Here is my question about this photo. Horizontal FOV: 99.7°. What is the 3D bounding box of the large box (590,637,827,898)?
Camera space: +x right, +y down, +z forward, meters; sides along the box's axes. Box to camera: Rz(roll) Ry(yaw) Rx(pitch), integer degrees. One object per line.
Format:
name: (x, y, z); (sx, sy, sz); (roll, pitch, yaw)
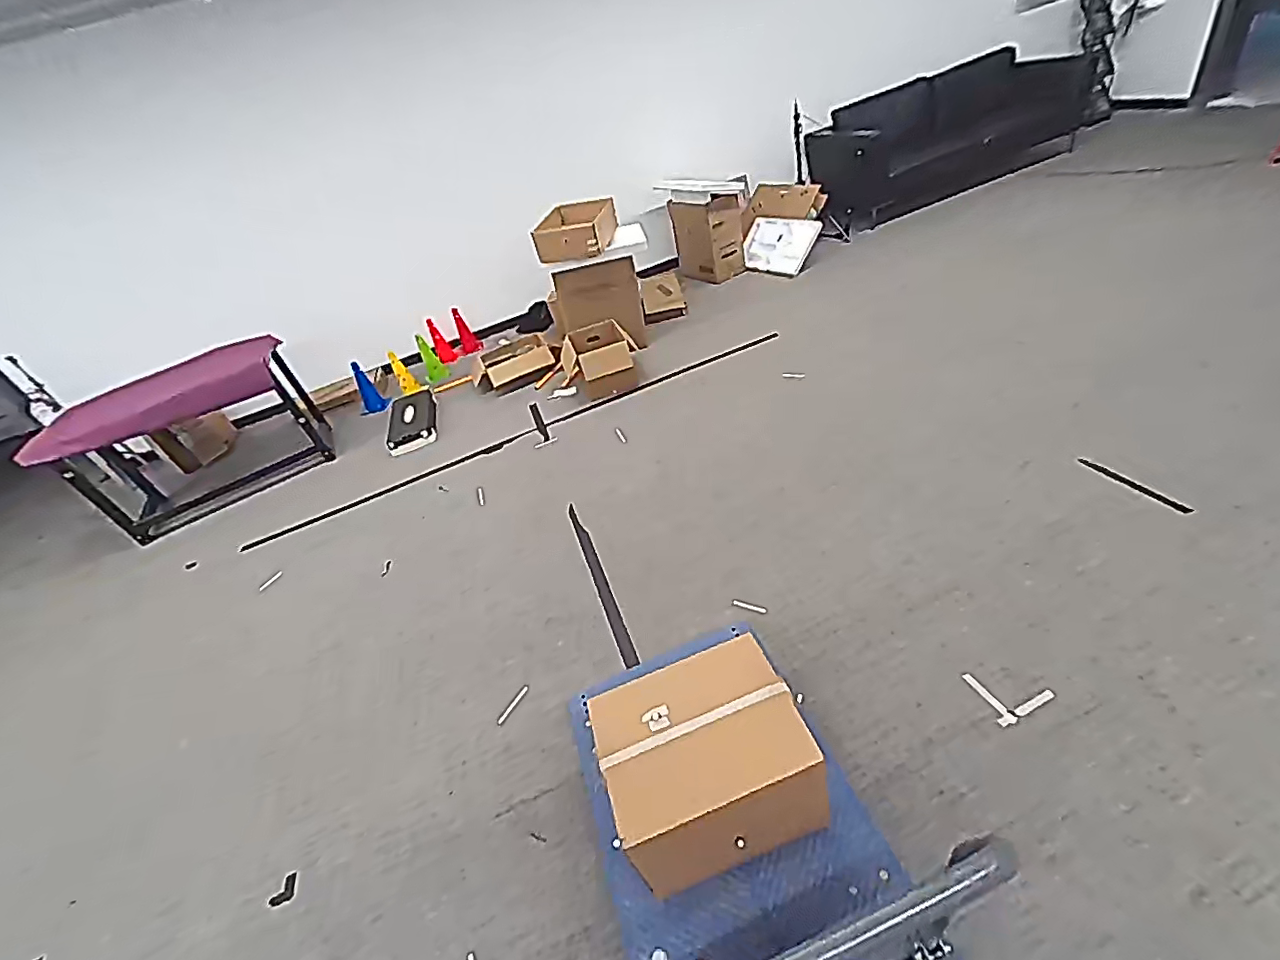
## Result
large box: (0.151, 0.627, 1.196); (0.408, 0.320, 0.320); (-22, 36, -5)
